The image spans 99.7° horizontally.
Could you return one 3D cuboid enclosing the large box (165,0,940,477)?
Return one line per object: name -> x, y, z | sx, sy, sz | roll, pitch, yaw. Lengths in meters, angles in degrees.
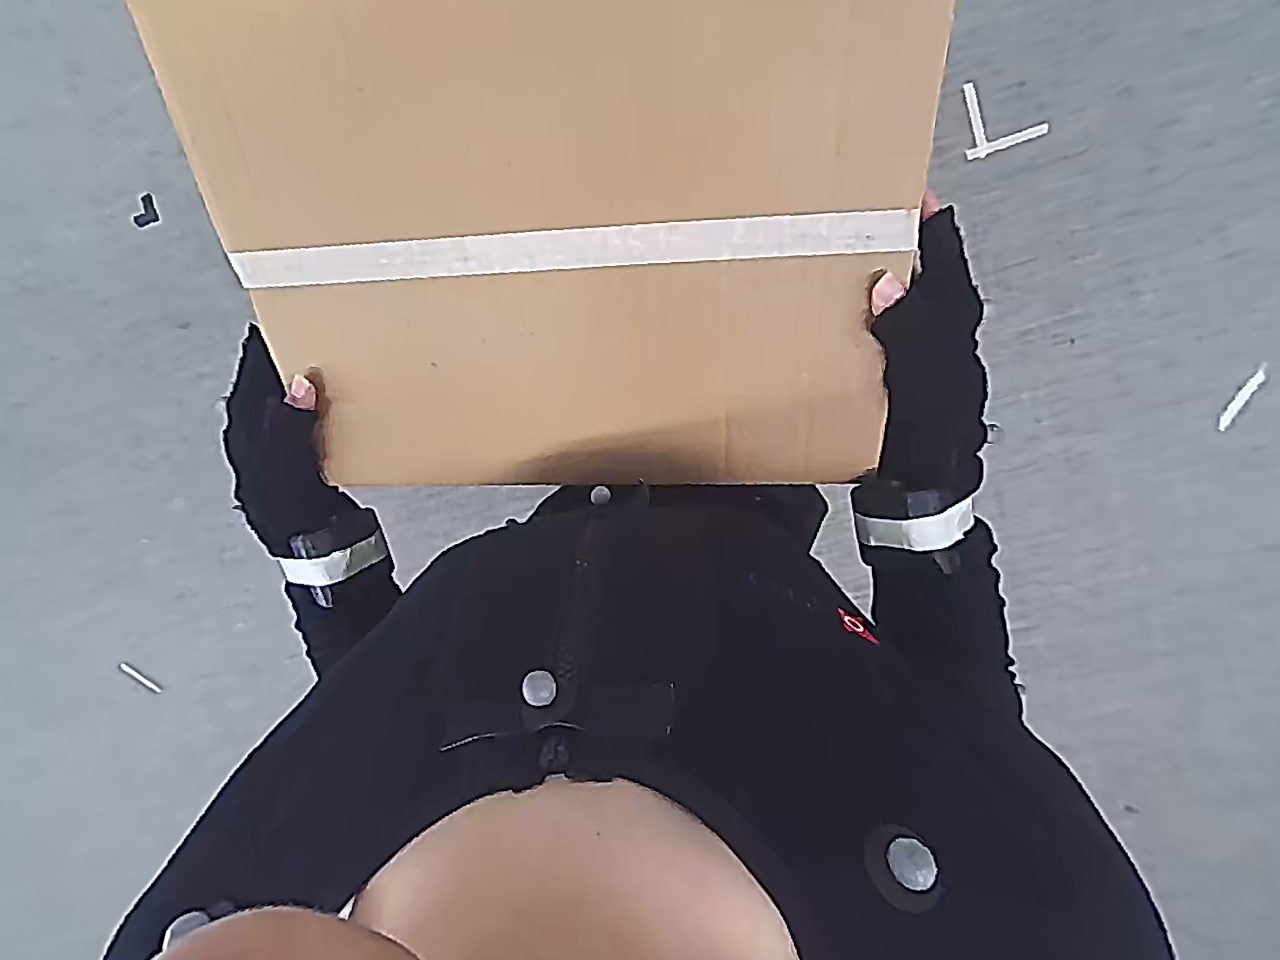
large box -> -0.034, -0.211, 0.457 | 0.408, 0.320, 0.320 | 0, 120, 7
